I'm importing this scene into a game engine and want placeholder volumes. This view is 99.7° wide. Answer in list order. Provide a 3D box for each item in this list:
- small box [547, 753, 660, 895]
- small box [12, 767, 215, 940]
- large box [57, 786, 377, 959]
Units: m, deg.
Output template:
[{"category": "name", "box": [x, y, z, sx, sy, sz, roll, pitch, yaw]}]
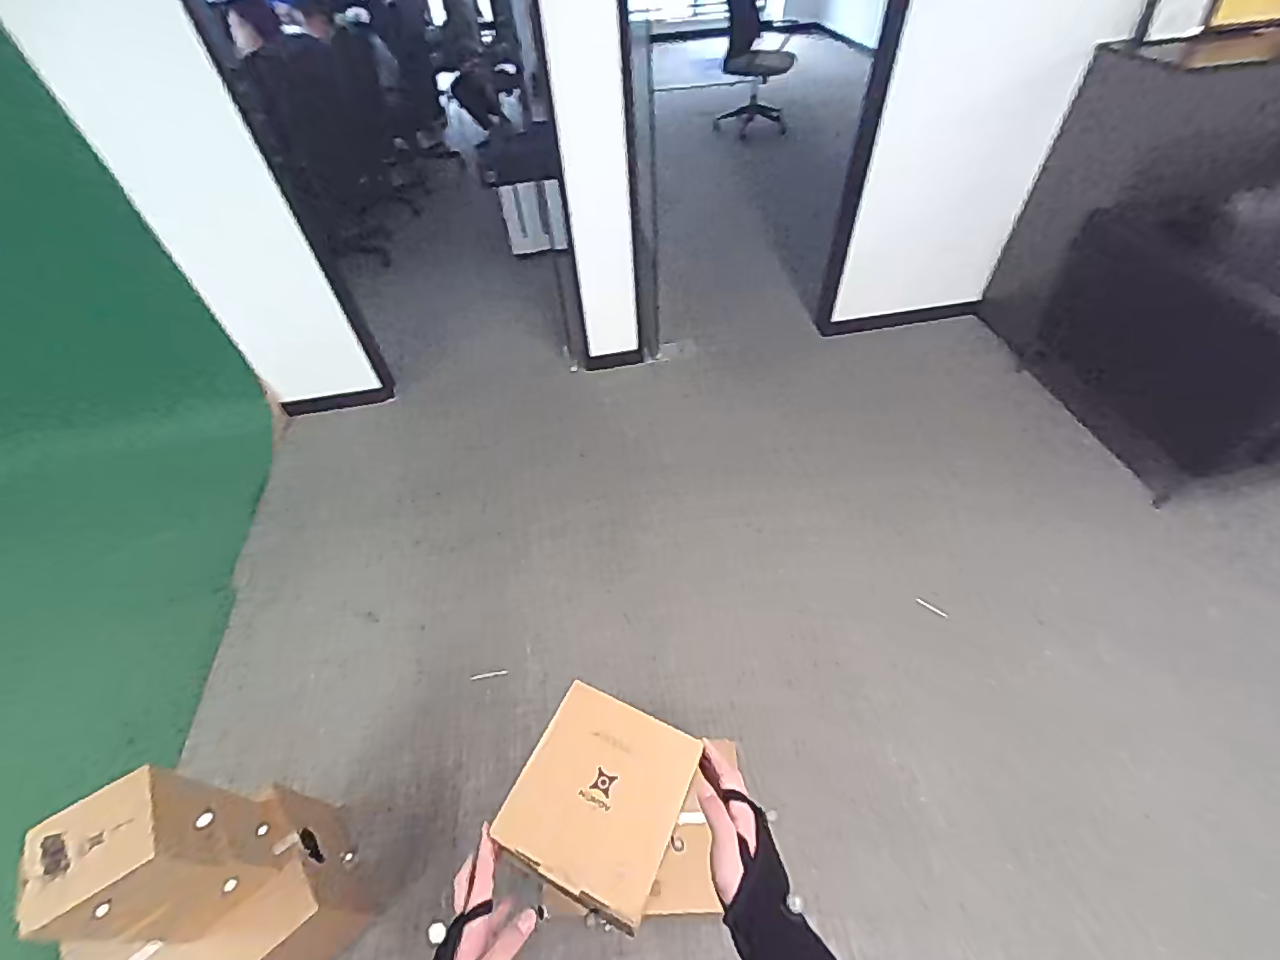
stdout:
[{"category": "small box", "box": [-0.056, 0.581, 0.907, 0.168, 0.176, 0.179, -5, 48, -1]}, {"category": "small box", "box": [-0.866, 0.627, 0.905, 0.179, 0.176, 0.168, -29, 53, -21]}, {"category": "large box", "box": [-0.870, 0.960, 1.159, 0.408, 0.320, 0.320, -36, 55, -24]}]
